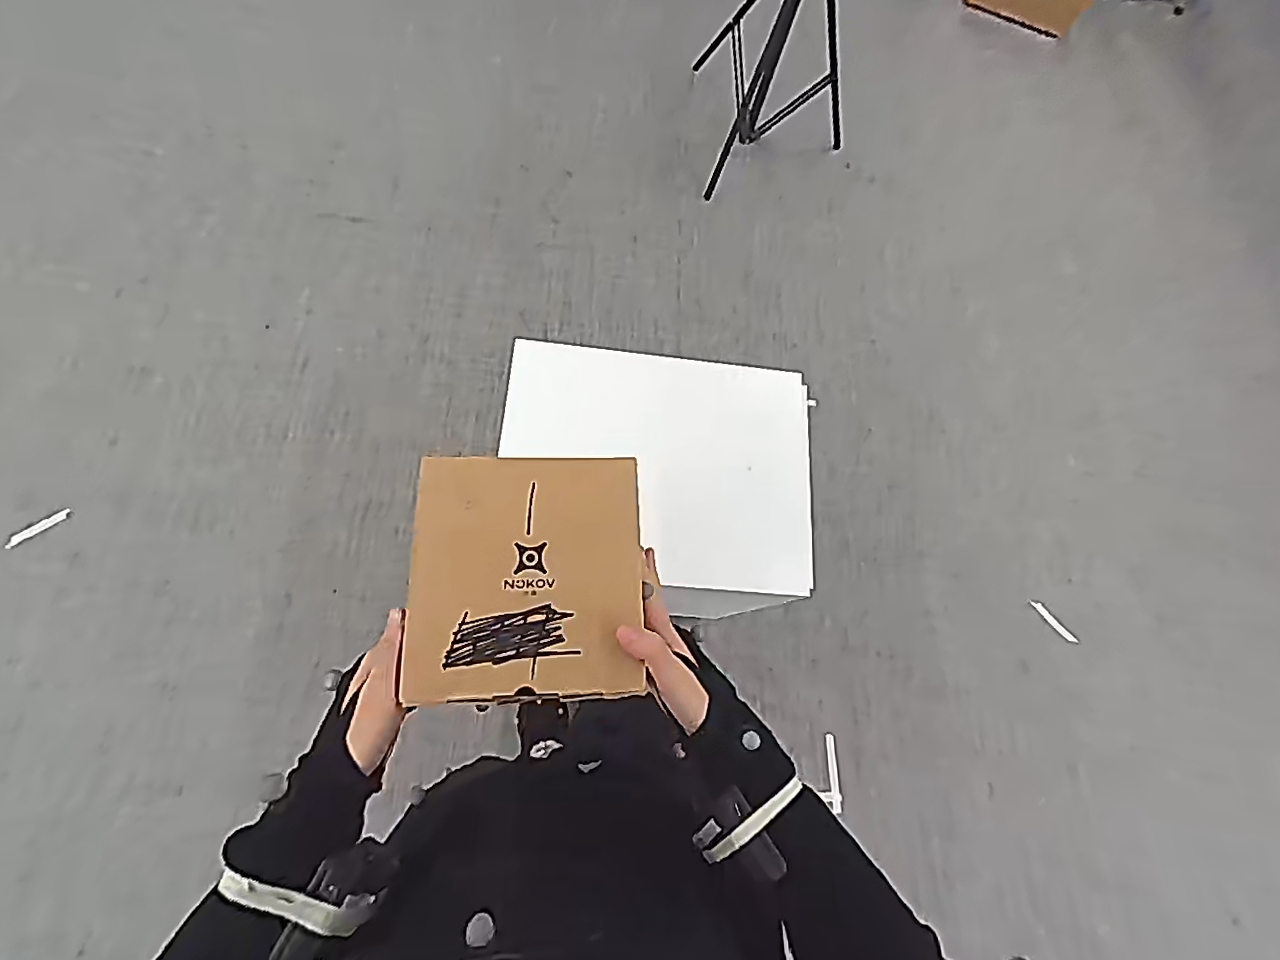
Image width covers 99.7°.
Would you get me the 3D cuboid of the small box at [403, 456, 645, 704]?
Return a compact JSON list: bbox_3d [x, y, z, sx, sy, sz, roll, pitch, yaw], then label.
[{"bbox_3d":[-0.086,0.090,0.464,0.168,0.176,0.179,0,70,-7],"label":"small box"}]
